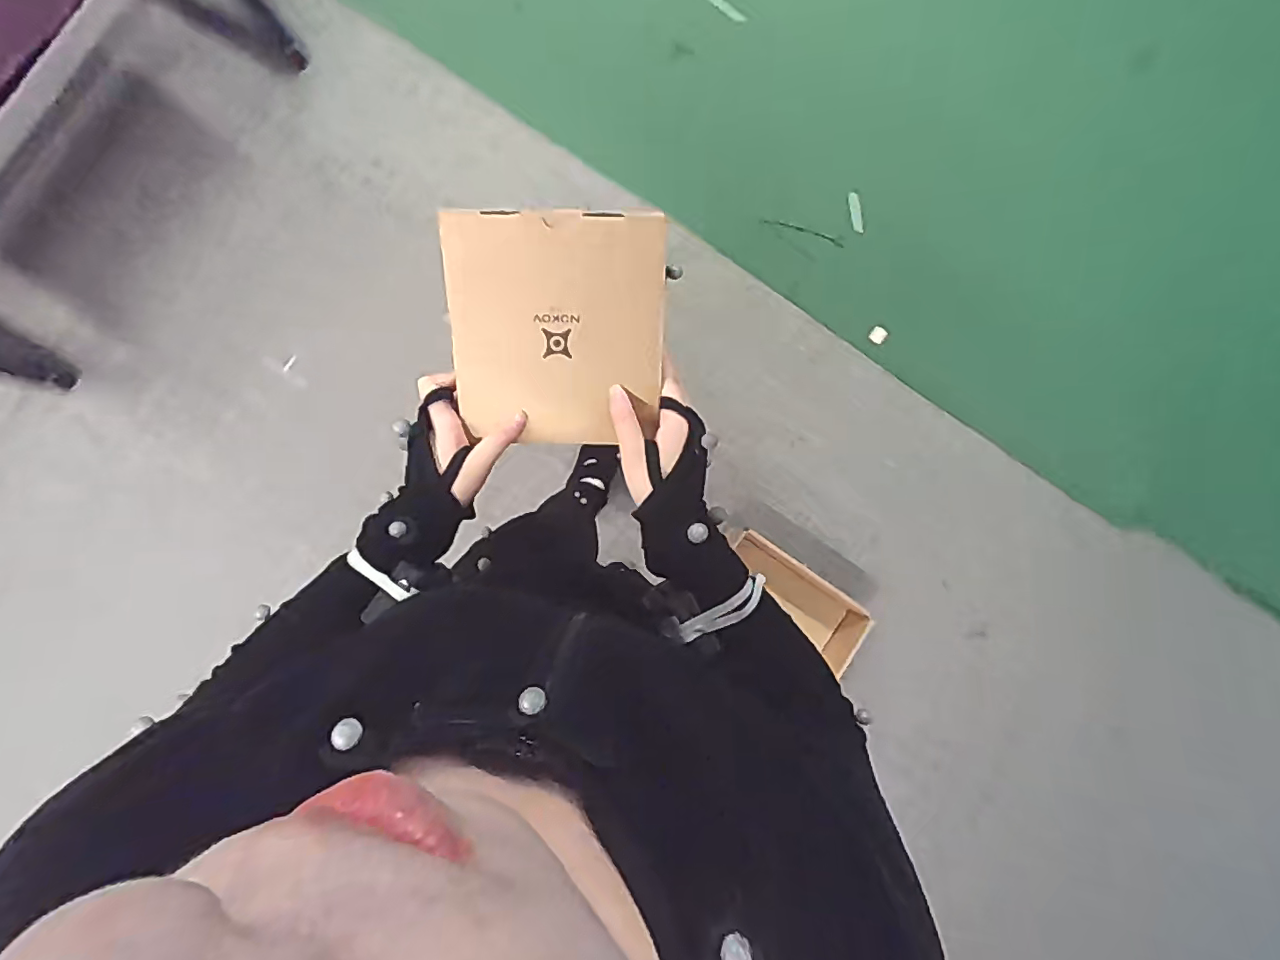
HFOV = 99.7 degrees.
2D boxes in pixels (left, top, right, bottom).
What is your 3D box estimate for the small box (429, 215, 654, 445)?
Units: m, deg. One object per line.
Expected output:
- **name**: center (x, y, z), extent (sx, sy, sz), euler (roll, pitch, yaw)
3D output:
- **small box**: center (-0.072, -0.142, 0.495), extent (0.168, 0.176, 0.179), euler (-1, 112, -1)
